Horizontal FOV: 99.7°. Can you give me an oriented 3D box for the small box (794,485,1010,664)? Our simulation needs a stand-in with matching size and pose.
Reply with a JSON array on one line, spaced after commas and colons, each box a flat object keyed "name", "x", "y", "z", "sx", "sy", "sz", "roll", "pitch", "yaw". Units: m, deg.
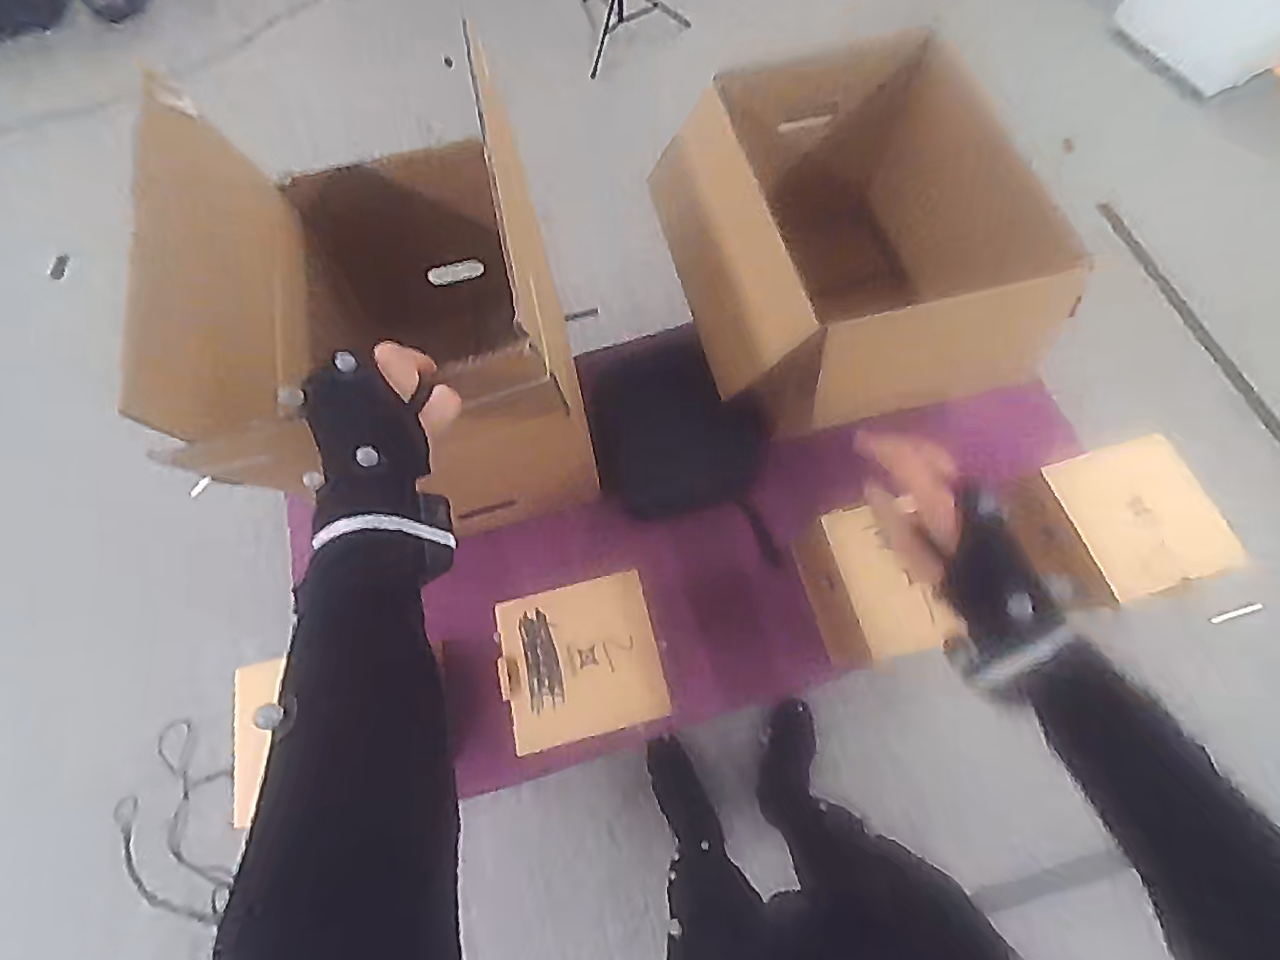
[{"name": "small box", "x": 0.317, "y": 0.130, "z": 0.701, "sx": 0.168, "sy": 0.176, "sz": 0.179, "roll": -15, "pitch": 70, "yaw": -2}]

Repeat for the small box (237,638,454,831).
[{"name": "small box", "x": -0.354, "y": 0.306, "z": 0.673, "sx": 0.179, "sy": 0.176, "sz": 0.168, "roll": -14, "pitch": 70, "yaw": -4}]

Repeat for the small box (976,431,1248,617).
[{"name": "small box", "x": 0.589, "y": 0.066, "z": 0.709, "sx": 0.168, "sy": 0.176, "sz": 0.179, "roll": -17, "pitch": 70, "yaw": -2}]
